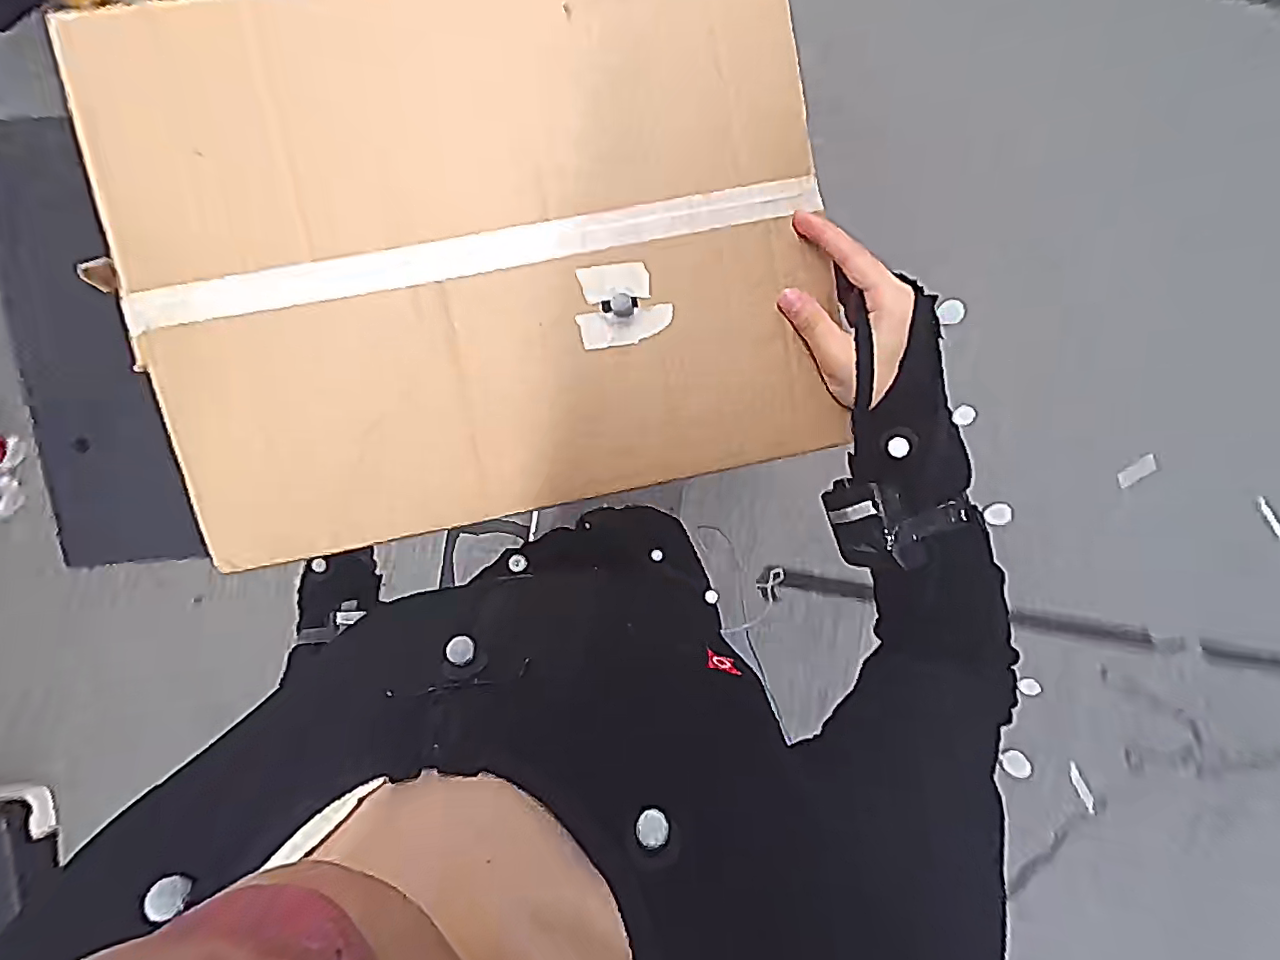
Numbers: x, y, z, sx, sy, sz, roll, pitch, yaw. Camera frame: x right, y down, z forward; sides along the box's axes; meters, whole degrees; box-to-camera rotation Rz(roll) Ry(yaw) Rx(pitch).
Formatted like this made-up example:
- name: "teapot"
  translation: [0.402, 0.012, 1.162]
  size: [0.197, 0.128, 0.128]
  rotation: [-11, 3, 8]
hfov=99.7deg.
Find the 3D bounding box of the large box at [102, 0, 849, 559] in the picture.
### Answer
- name: "large box"
  translation: [-0.096, -0.152, 0.479]
  size: [0.408, 0.320, 0.320]
  rotation: [-11, 98, -6]
